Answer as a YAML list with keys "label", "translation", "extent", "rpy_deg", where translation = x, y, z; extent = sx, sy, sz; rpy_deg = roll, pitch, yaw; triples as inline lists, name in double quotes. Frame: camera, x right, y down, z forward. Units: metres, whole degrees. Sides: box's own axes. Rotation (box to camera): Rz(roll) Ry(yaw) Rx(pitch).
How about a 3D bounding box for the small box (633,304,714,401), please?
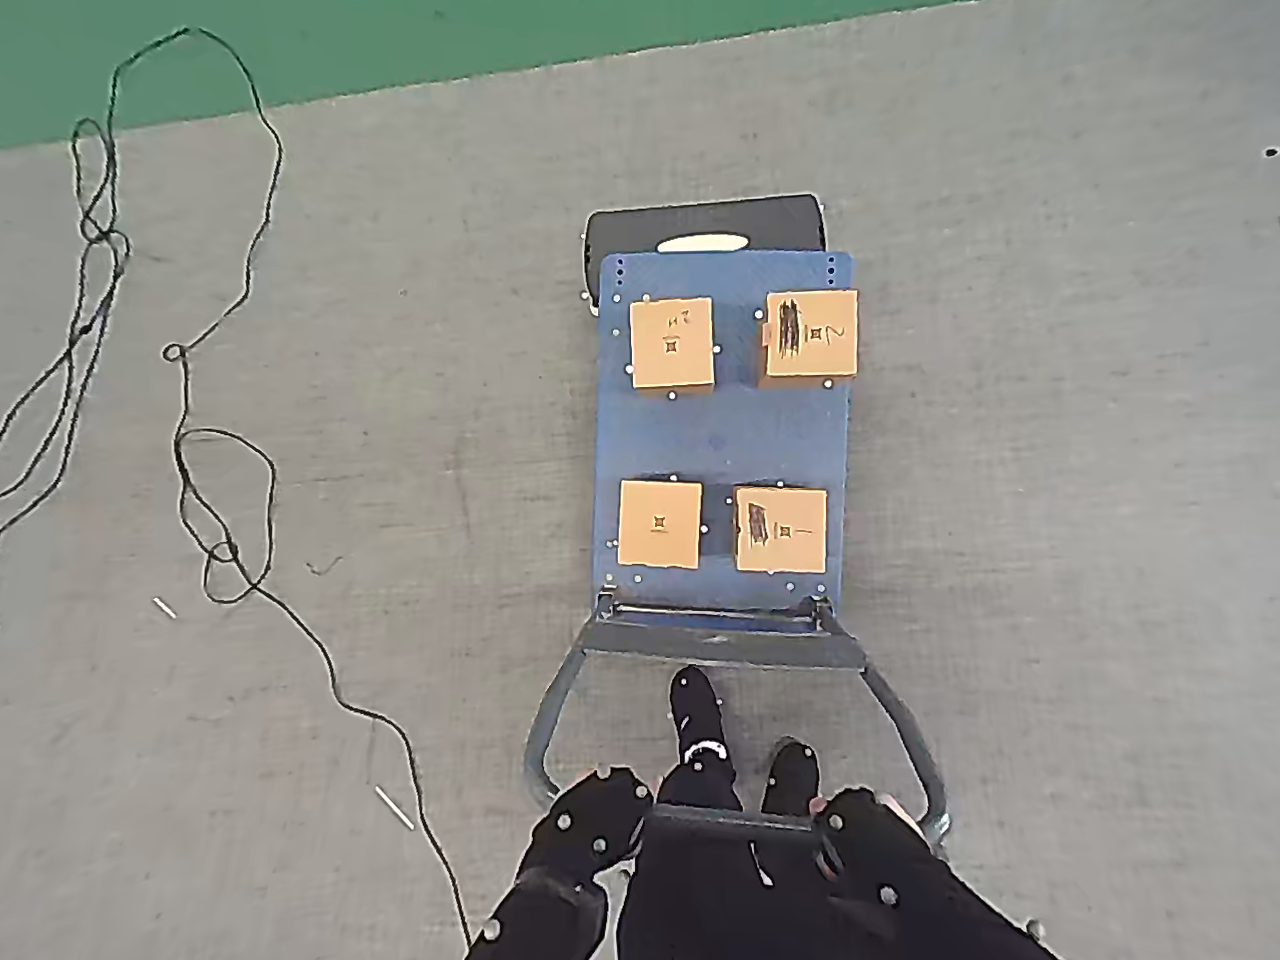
- label: "small box"
  translation: [0.076, -0.267, 1.170]
  extent: [0.168, 0.176, 0.179]
  rpy_deg: [-2, 91, 6]

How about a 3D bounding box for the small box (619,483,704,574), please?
- label: "small box"
  translation: [0.050, 0.098, 1.178]
  extent: [0.168, 0.176, 0.179]
  rpy_deg: [3, 92, 6]
